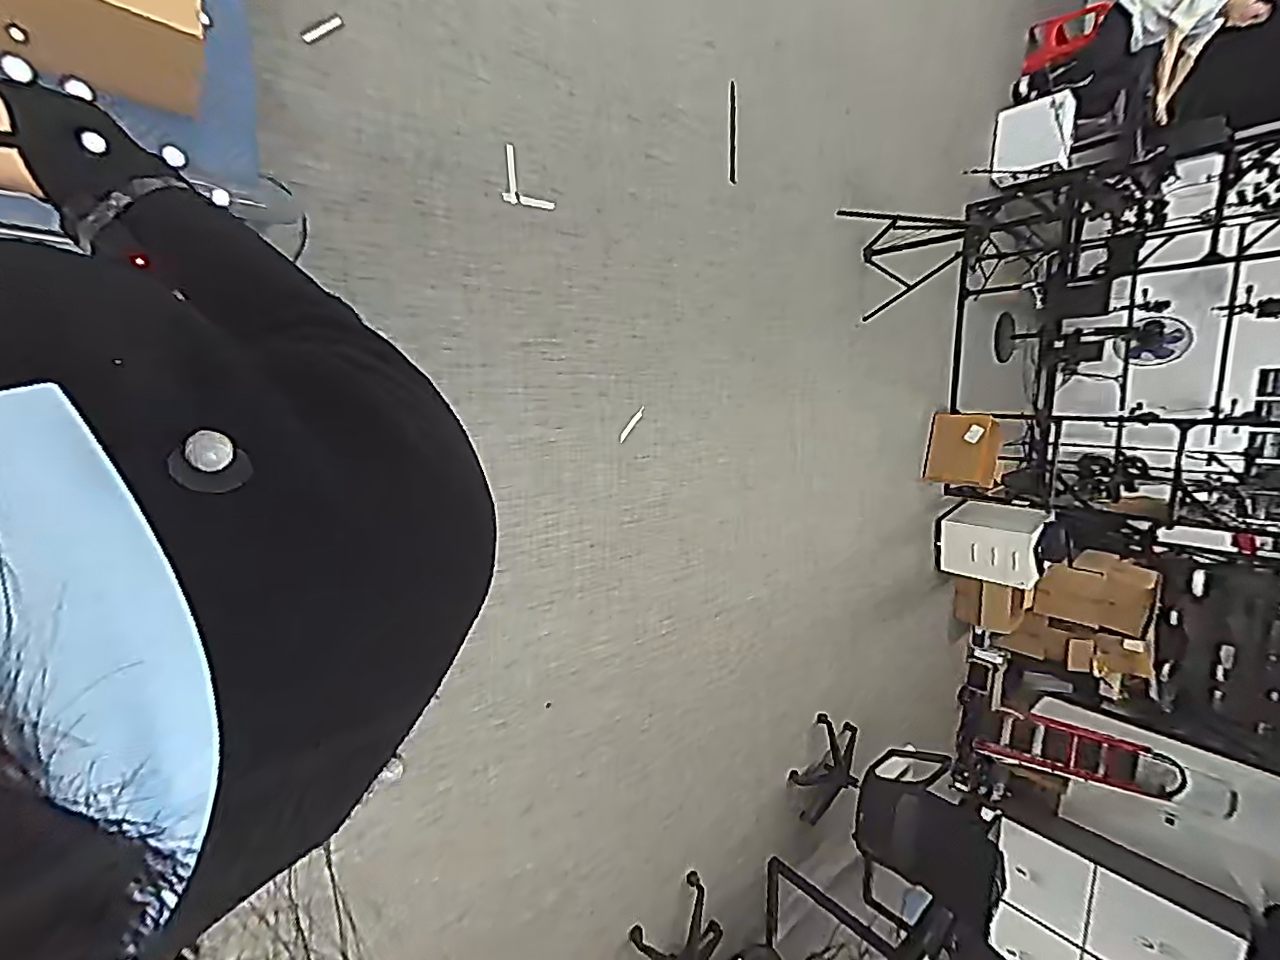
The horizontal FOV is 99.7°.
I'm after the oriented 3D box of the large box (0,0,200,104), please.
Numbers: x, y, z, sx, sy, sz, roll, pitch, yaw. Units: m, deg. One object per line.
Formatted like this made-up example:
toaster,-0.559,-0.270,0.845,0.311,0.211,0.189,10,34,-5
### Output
large box,-0.854,-0.790,0.716,0.408,0.320,0.320,-3,98,-40
